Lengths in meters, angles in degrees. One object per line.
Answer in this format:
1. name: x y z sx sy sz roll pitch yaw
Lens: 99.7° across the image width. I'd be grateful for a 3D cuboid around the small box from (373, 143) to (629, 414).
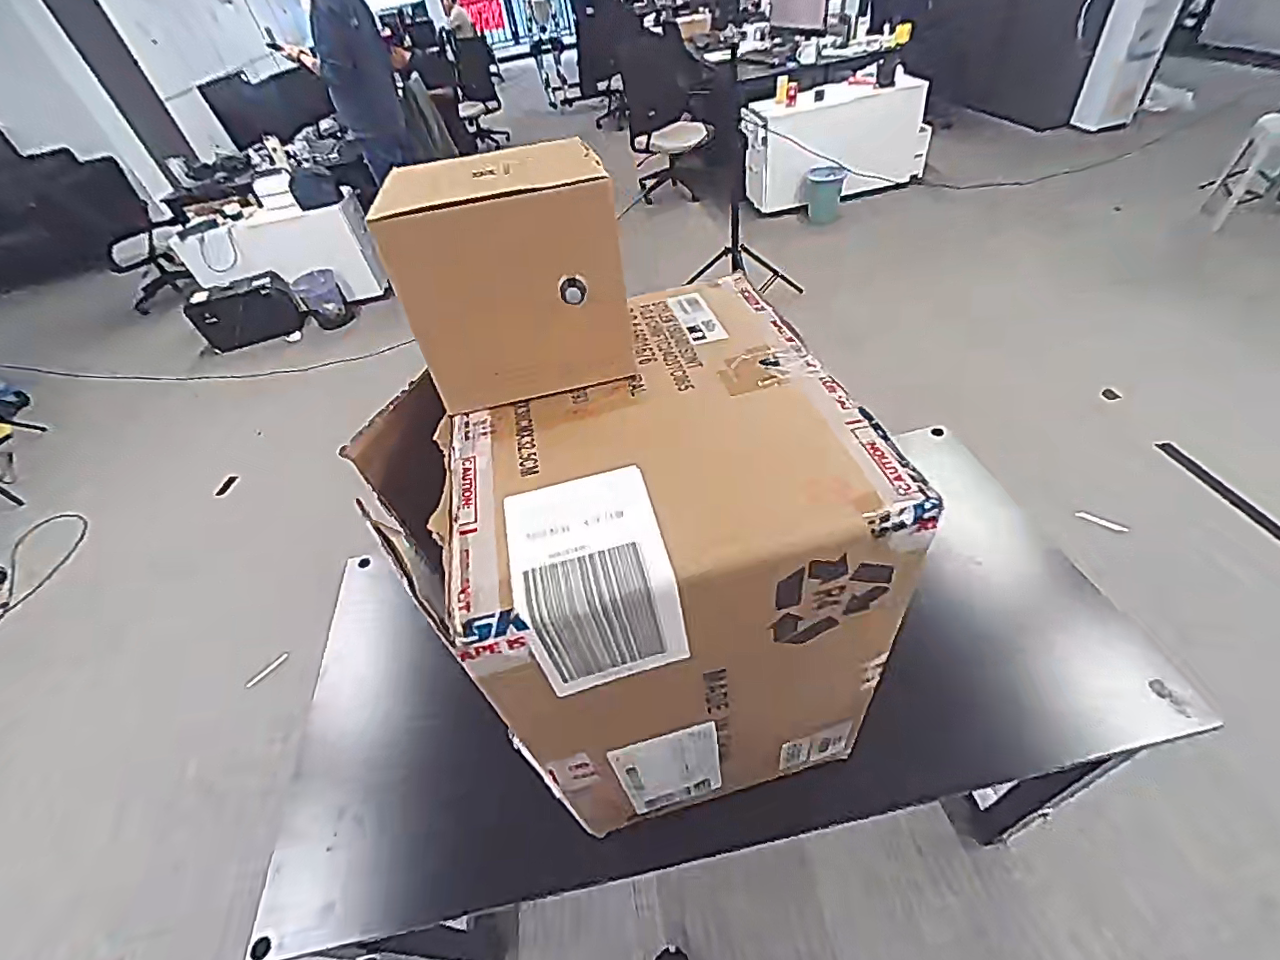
1. small box: -0.111 -0.185 0.498 0.179 0.176 0.168 -14 42 -4
